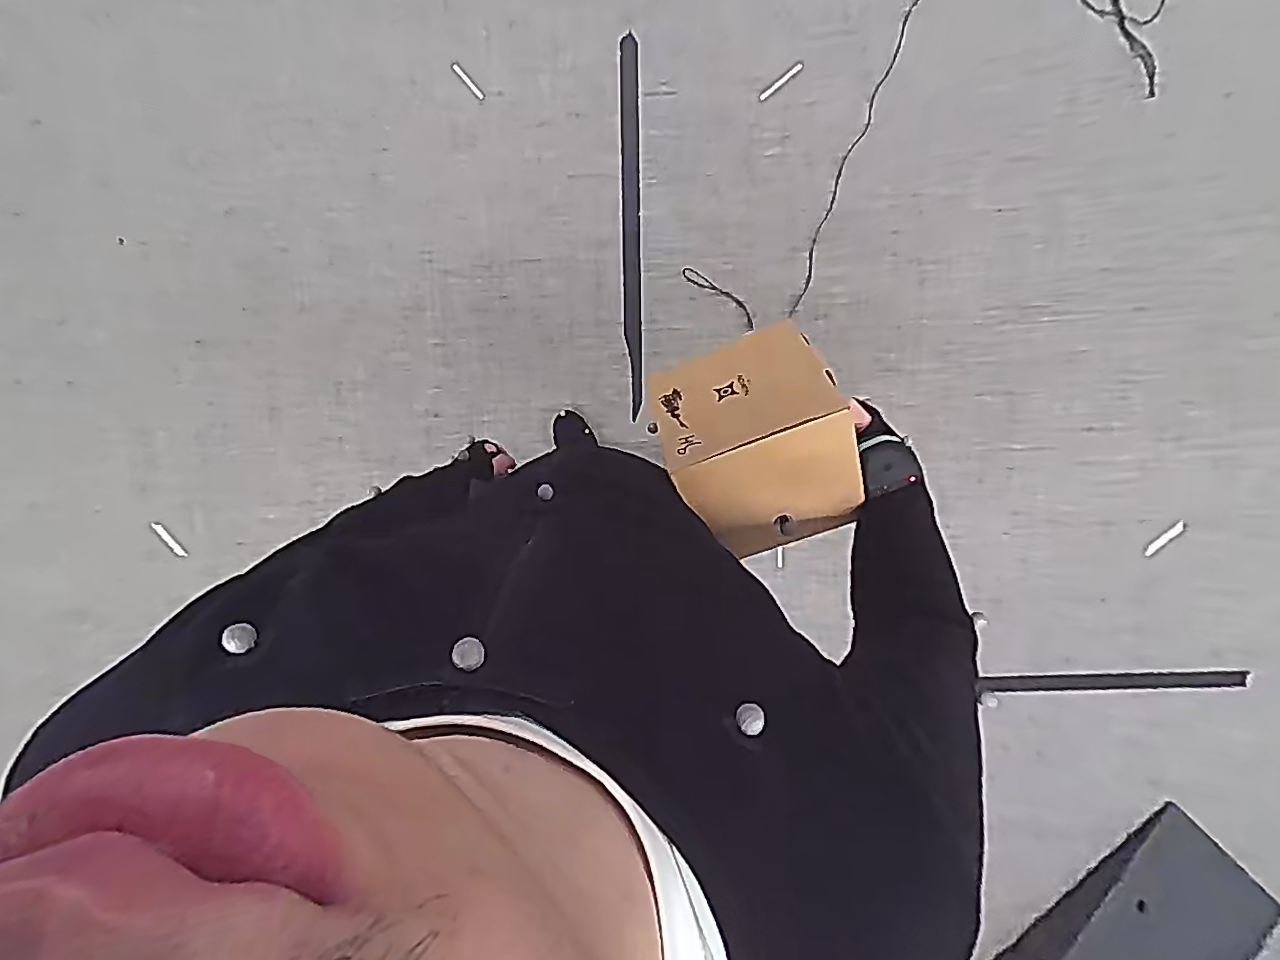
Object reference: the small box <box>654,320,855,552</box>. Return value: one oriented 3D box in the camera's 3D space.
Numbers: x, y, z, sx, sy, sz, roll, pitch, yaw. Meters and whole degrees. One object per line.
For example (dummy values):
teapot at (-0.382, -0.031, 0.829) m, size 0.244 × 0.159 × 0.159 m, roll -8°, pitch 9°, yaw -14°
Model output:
small box at (0.133, -0.045, 0.620) m, size 0.179 × 0.168 × 0.176 m, roll -20°, pitch 133°, yaw 11°
